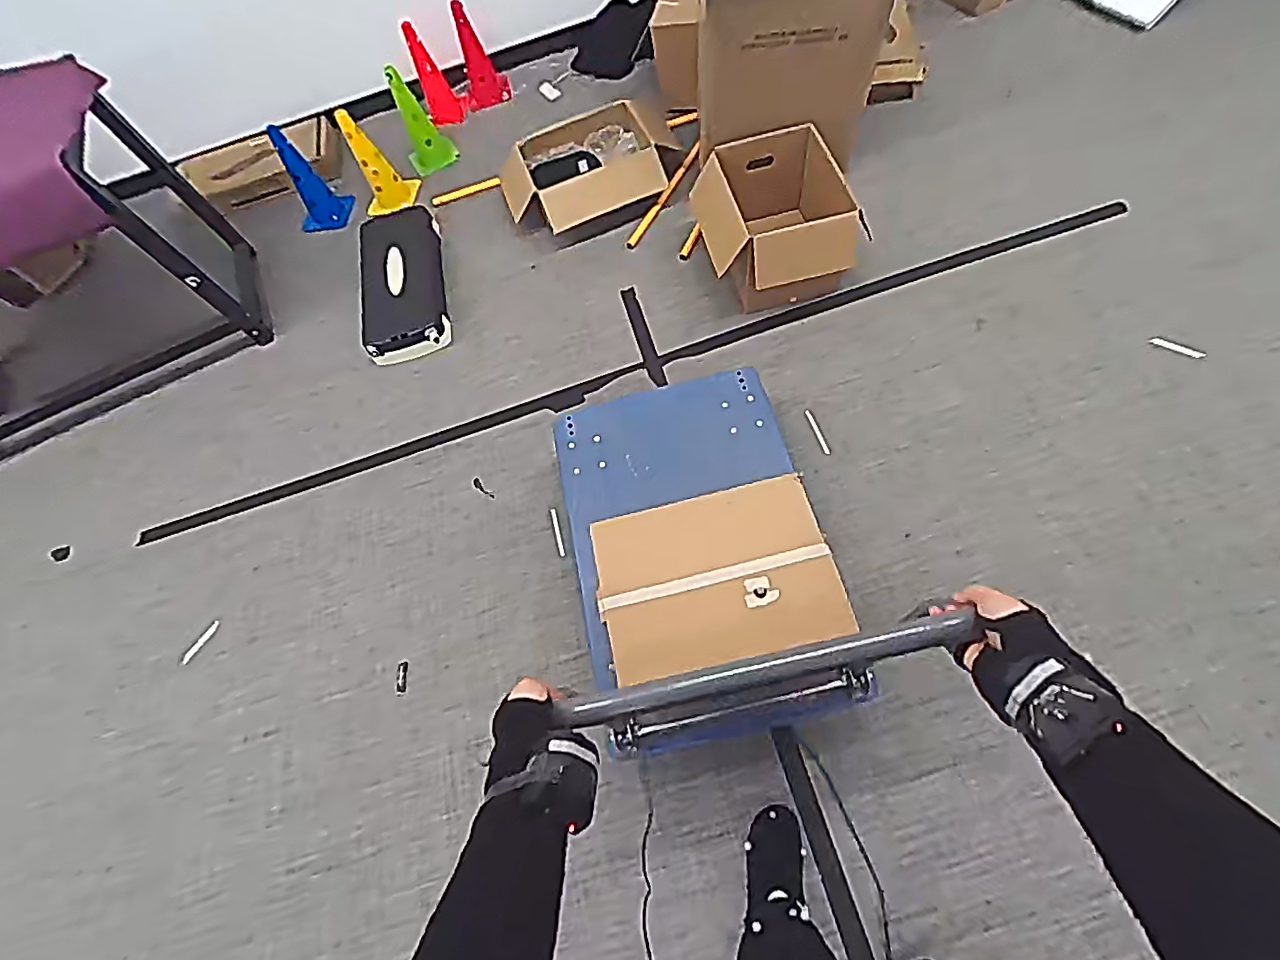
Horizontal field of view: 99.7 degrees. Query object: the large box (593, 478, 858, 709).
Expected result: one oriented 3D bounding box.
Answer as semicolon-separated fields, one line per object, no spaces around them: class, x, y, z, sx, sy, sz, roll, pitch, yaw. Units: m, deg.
large box;0.151;0.242;1.081;0.408;0.320;0.320;-14;64;1
